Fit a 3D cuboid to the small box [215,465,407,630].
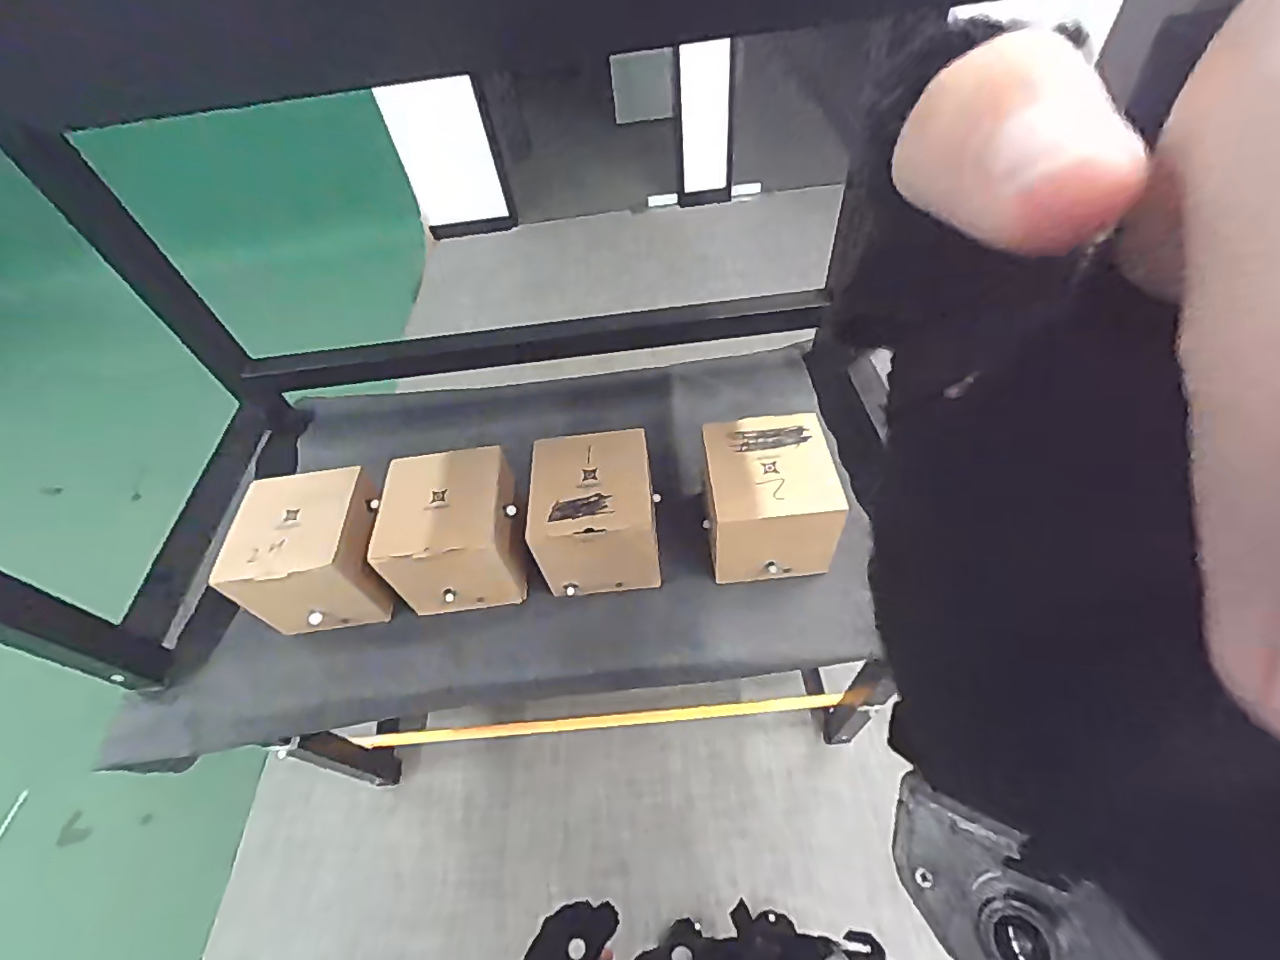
[{"bbox_3d":[-0.473,0.103,0.813,0.168,0.176,0.179,-8,51,1],"label":"small box"}]
